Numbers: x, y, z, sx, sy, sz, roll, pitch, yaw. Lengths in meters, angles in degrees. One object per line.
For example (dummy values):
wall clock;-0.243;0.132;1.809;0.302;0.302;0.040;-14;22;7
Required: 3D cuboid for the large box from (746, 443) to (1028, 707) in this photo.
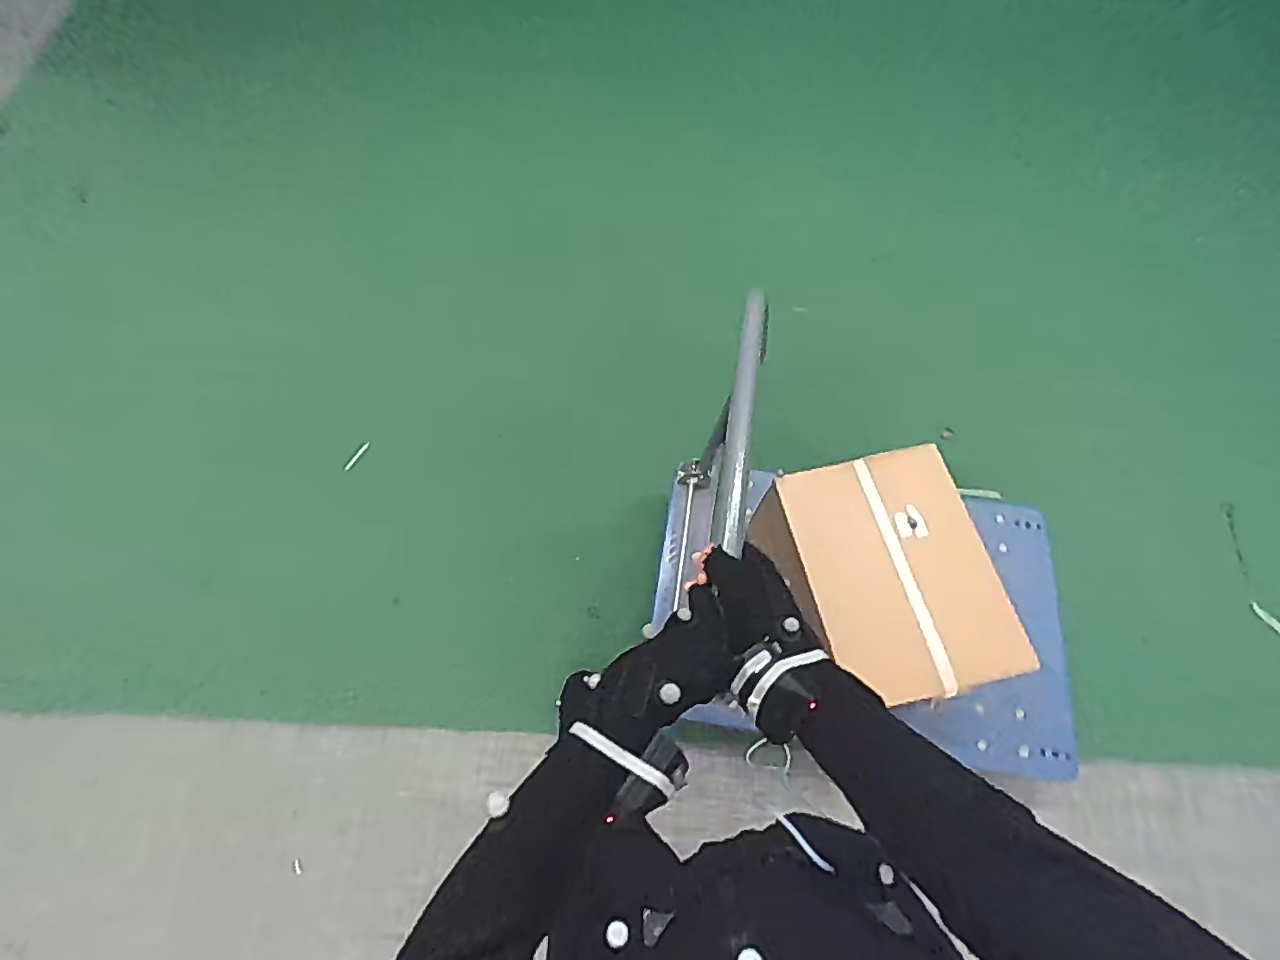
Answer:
large box;0.429;0.197;1.055;0.320;0.320;0.408;-11;67;-4
